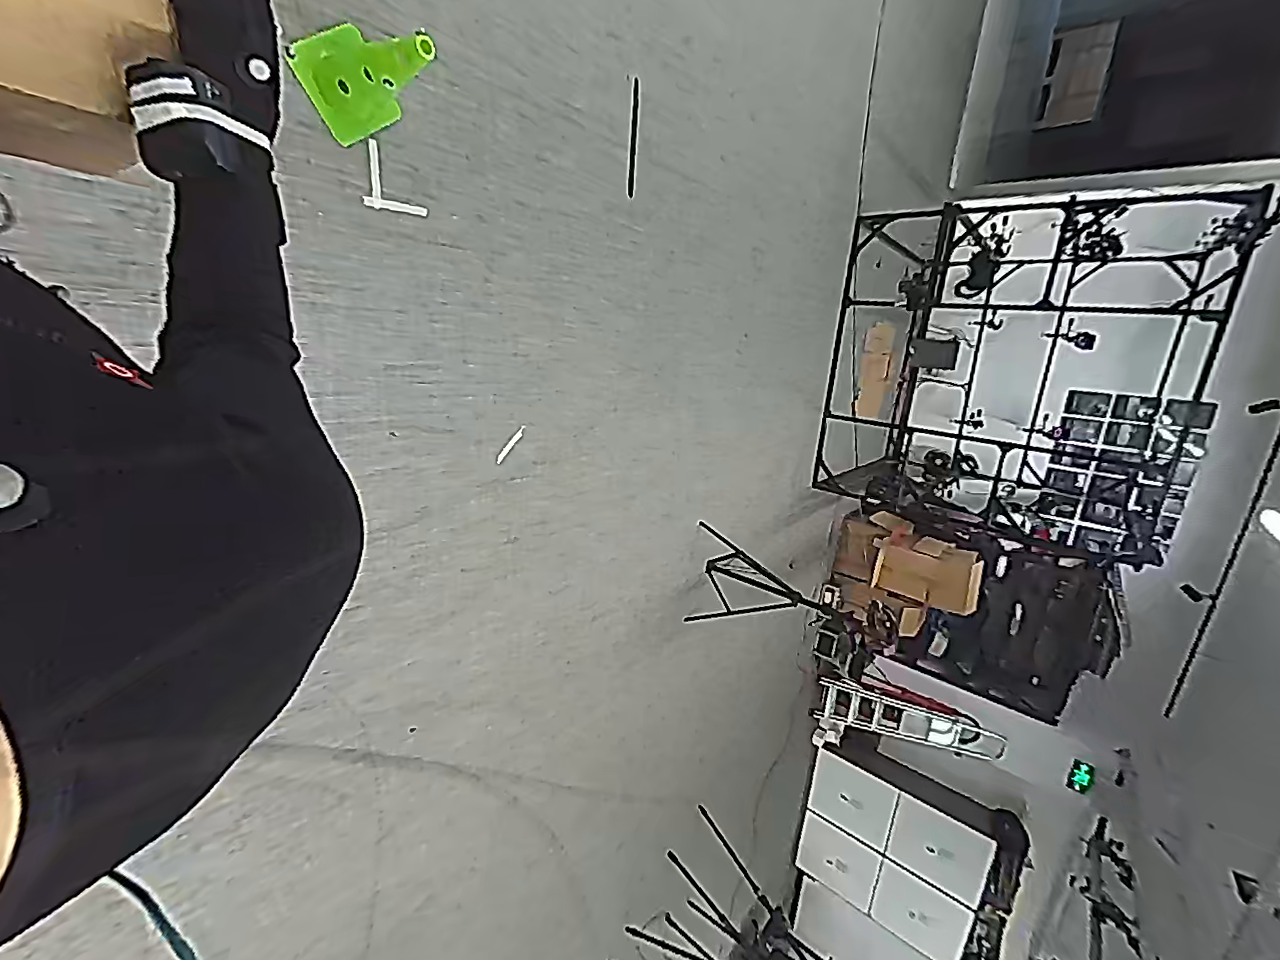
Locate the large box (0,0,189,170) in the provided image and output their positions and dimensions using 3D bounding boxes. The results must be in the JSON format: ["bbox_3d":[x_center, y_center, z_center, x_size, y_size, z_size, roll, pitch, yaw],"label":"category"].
[{"bbox_3d":[-0.569,-0.417,0.308,0.408,0.320,0.320,-12,113,-51],"label":"large box"}]

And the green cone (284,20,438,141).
[{"bbox_3d":[-0.562,-0.901,1.176,0.202,0.368,0.200,-53,140,-28],"label":"green cone"}]
